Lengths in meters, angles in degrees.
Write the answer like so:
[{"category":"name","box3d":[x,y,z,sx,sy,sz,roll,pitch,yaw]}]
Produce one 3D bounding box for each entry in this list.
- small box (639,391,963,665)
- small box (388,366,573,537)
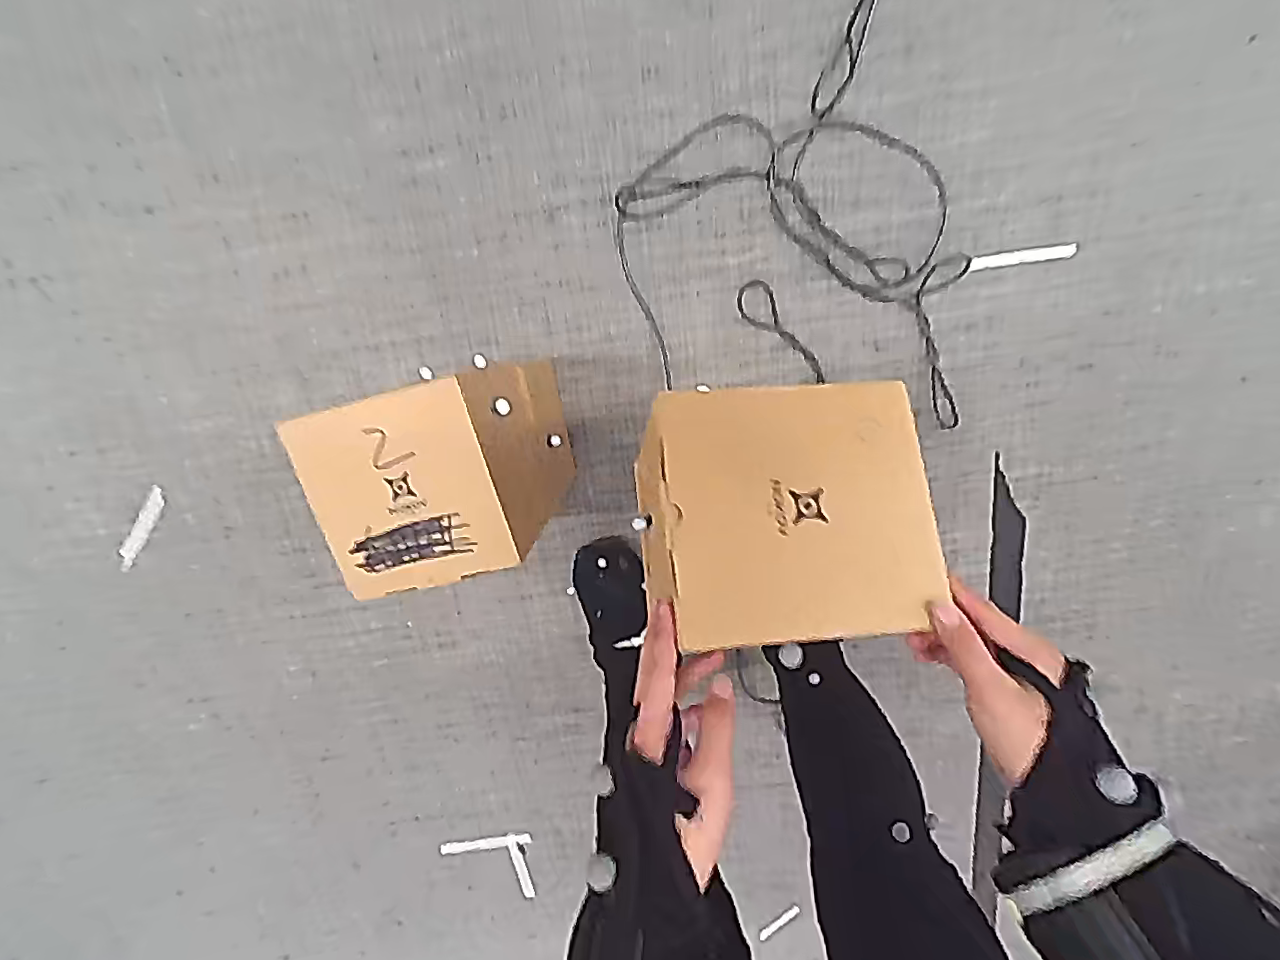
[{"category":"small box","box3d":[0.097,0.042,0.412,0.179,0.176,0.168,-3,76,-5]},{"category":"small box","box3d":[-0.192,-0.045,0.709,0.168,0.176,0.179,-9,105,4]}]
